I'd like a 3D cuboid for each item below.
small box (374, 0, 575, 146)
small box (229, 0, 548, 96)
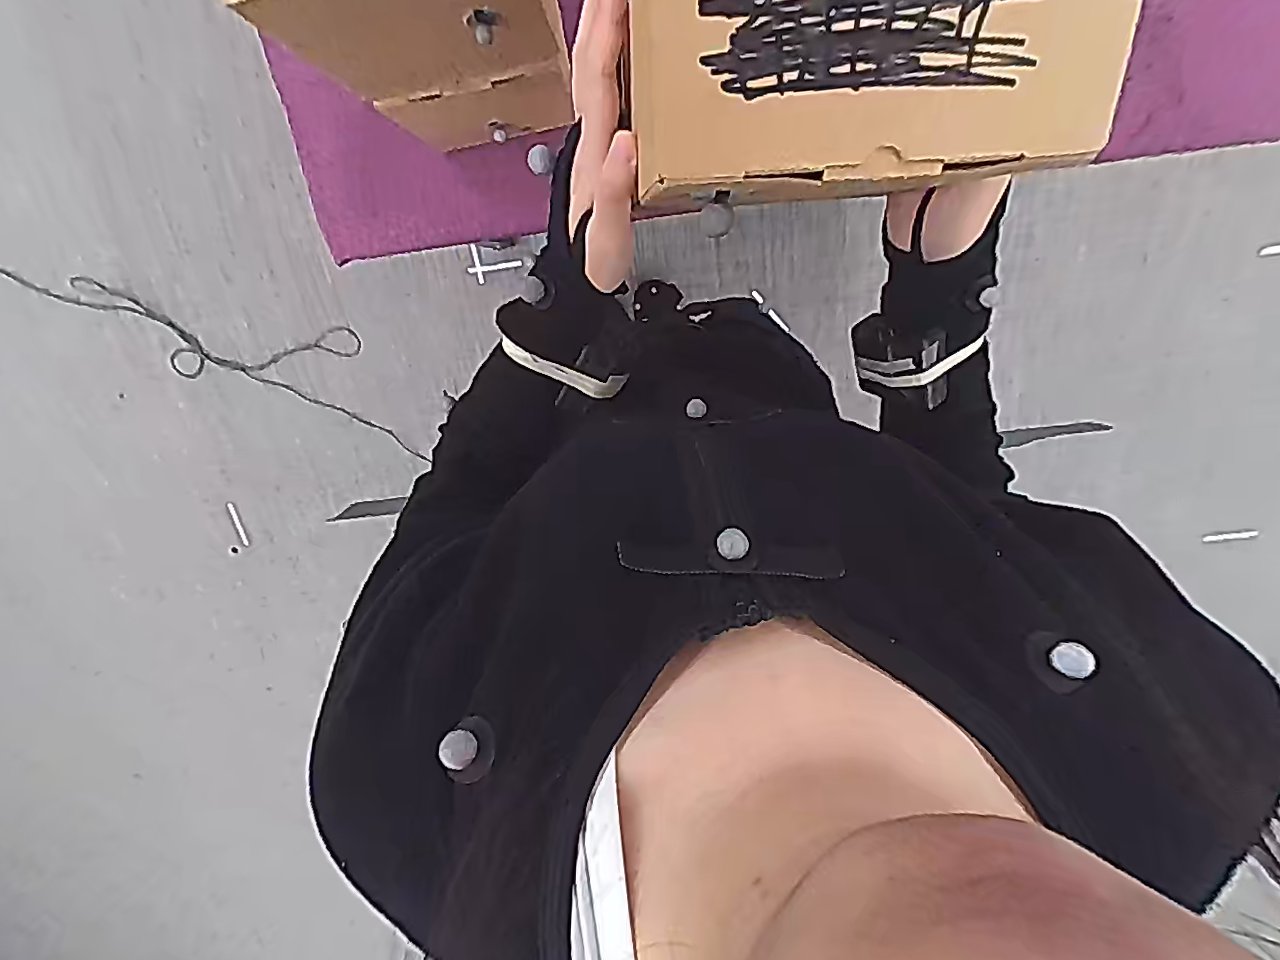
[{"bbox_3d":[-0.165,-0.446,0.509,0.168,0.176,0.179,-9,110,4],"label":"small box"},{"bbox_3d":[-0.167,-0.390,0.356,0.179,0.176,0.168,-10,108,5],"label":"small box"}]
